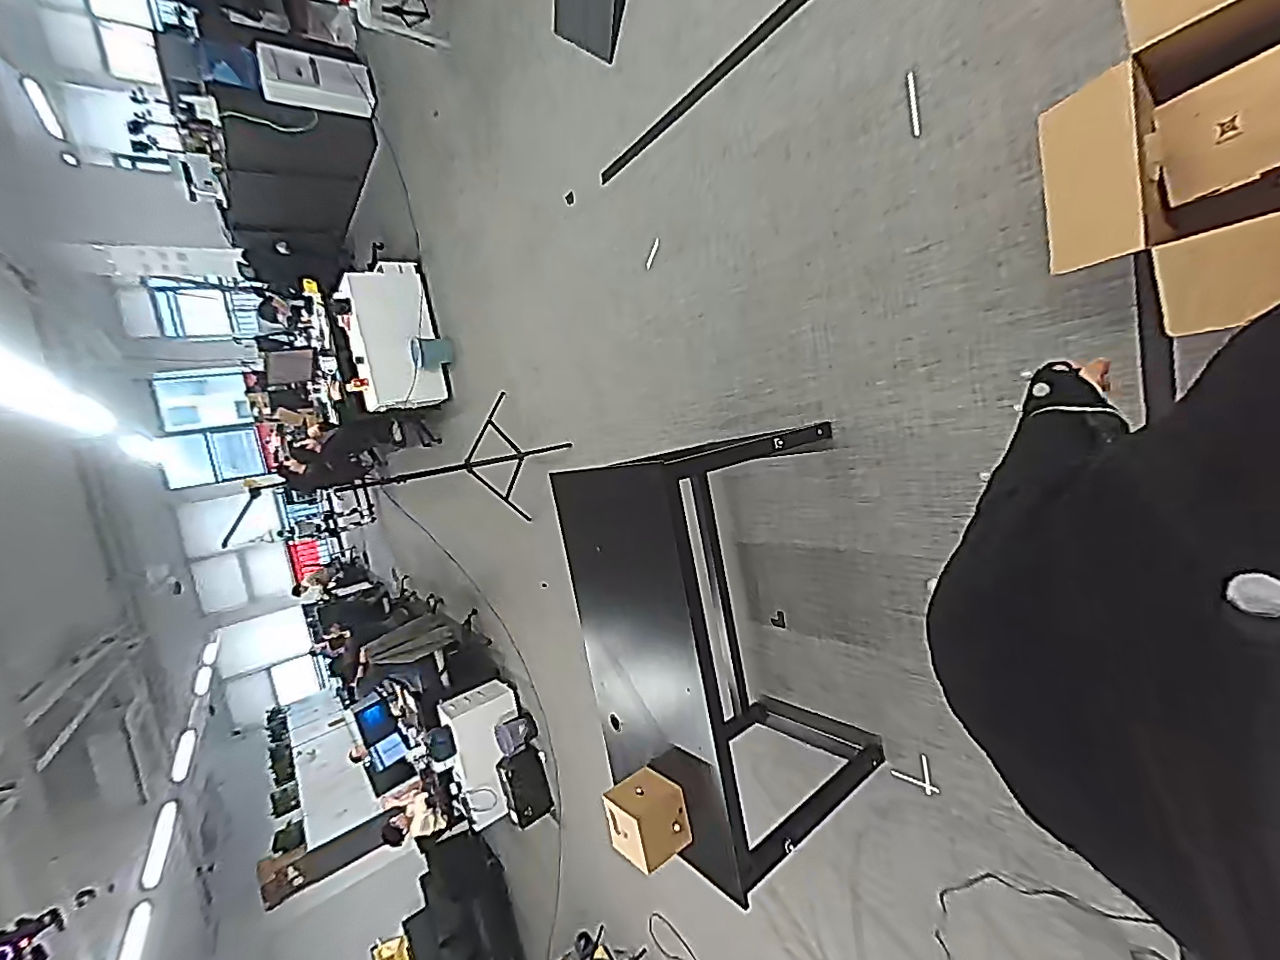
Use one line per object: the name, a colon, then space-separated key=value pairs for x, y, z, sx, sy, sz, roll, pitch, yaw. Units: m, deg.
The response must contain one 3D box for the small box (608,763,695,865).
small box: x=0.035 y=0.963 z=1.583 sx=0.179 sy=0.176 sz=0.168 roll=-7 pitch=97 yaw=54
